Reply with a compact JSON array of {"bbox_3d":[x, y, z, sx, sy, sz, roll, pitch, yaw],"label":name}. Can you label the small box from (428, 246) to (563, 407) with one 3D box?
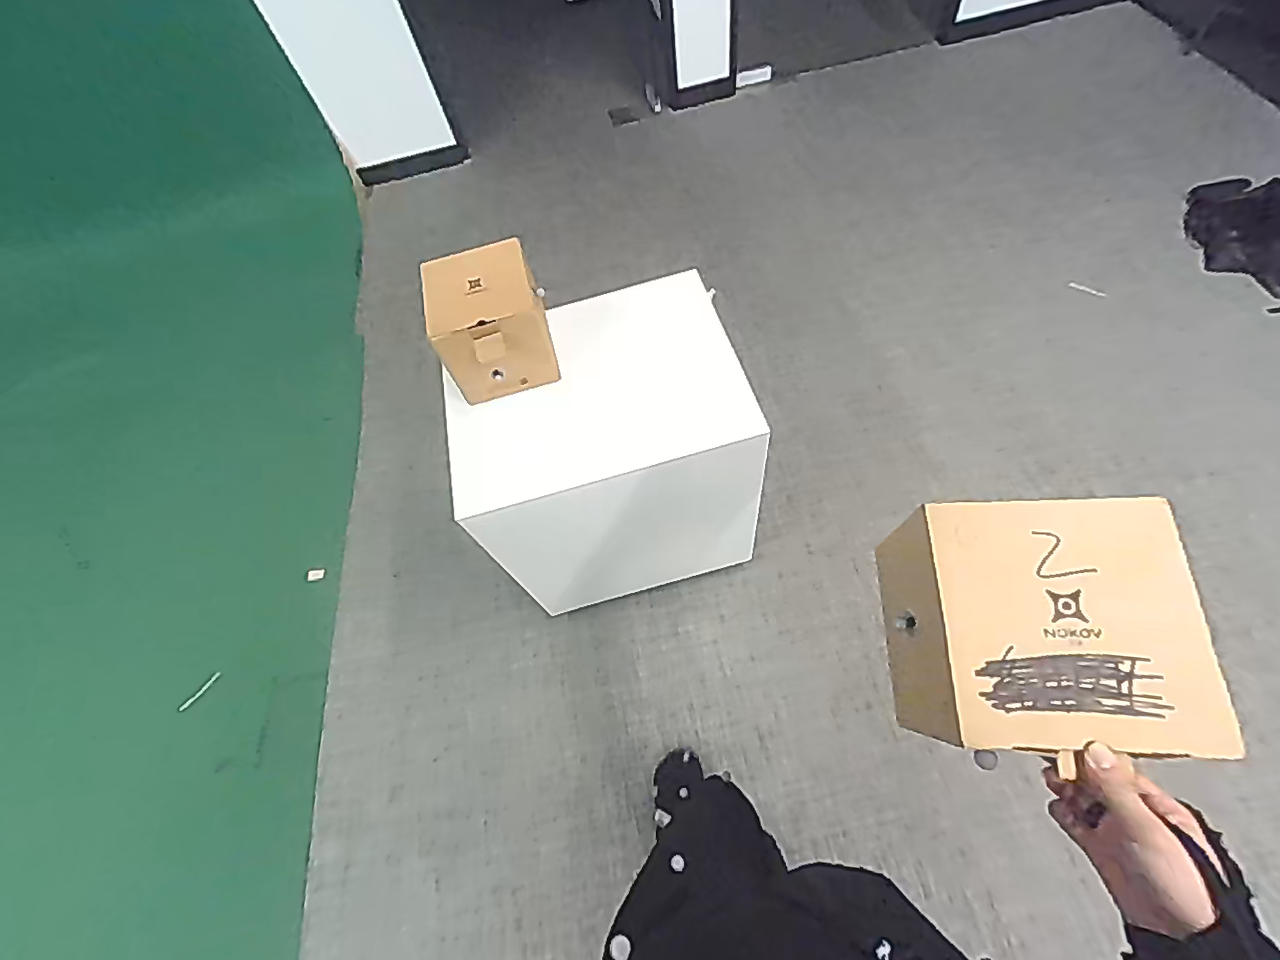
[{"bbox_3d":[-0.239,-0.254,0.912,0.168,0.176,0.179,-16,61,-2],"label":"small box"}]
